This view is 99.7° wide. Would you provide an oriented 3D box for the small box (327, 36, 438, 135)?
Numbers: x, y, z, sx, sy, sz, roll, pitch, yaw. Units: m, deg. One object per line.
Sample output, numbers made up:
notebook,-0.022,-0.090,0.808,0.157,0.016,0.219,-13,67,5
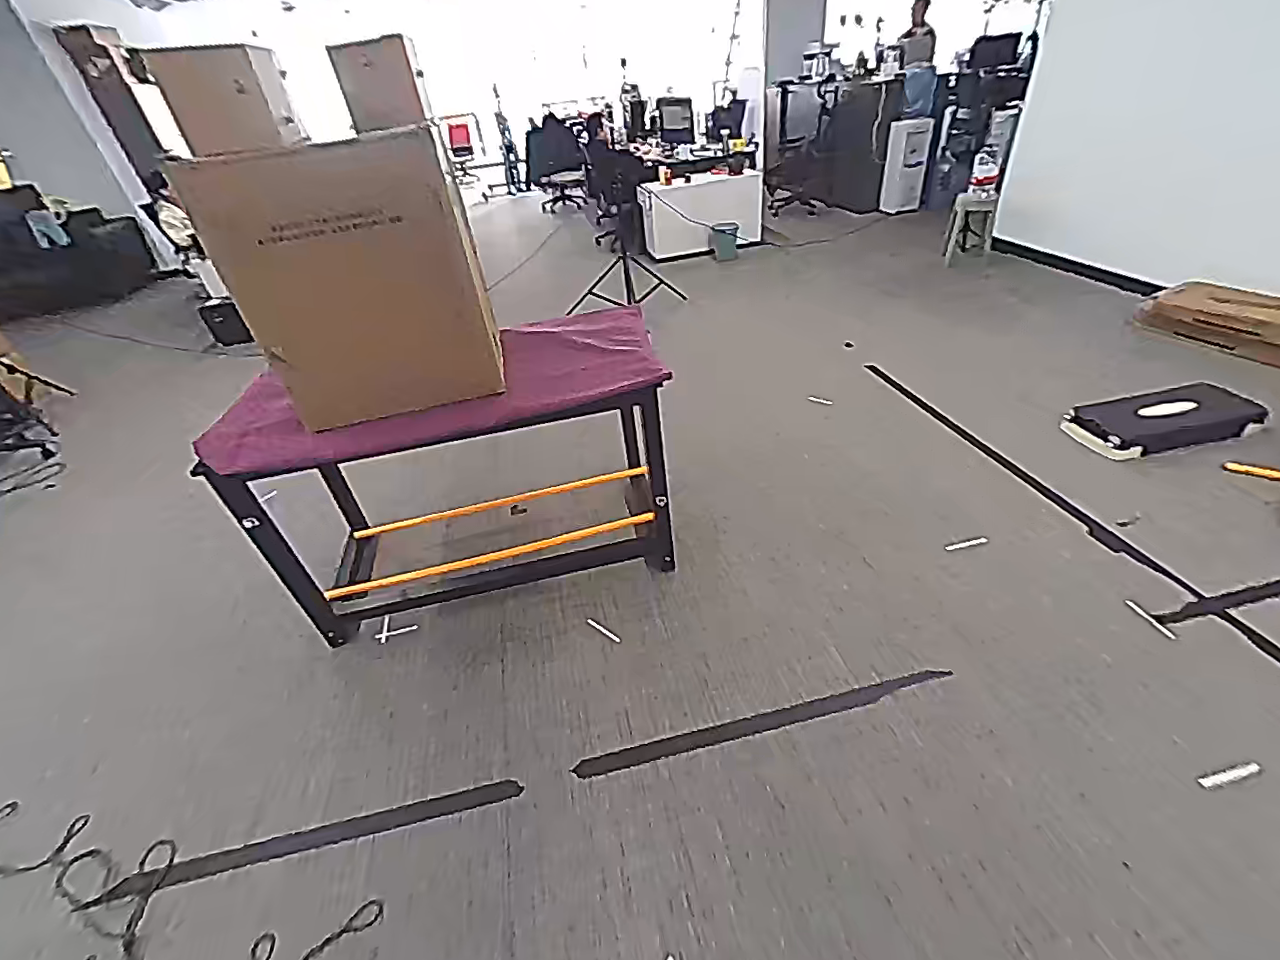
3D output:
small box,-0.606,-0.947,1.302,0.179,0.176,0.168,-11,37,-3
